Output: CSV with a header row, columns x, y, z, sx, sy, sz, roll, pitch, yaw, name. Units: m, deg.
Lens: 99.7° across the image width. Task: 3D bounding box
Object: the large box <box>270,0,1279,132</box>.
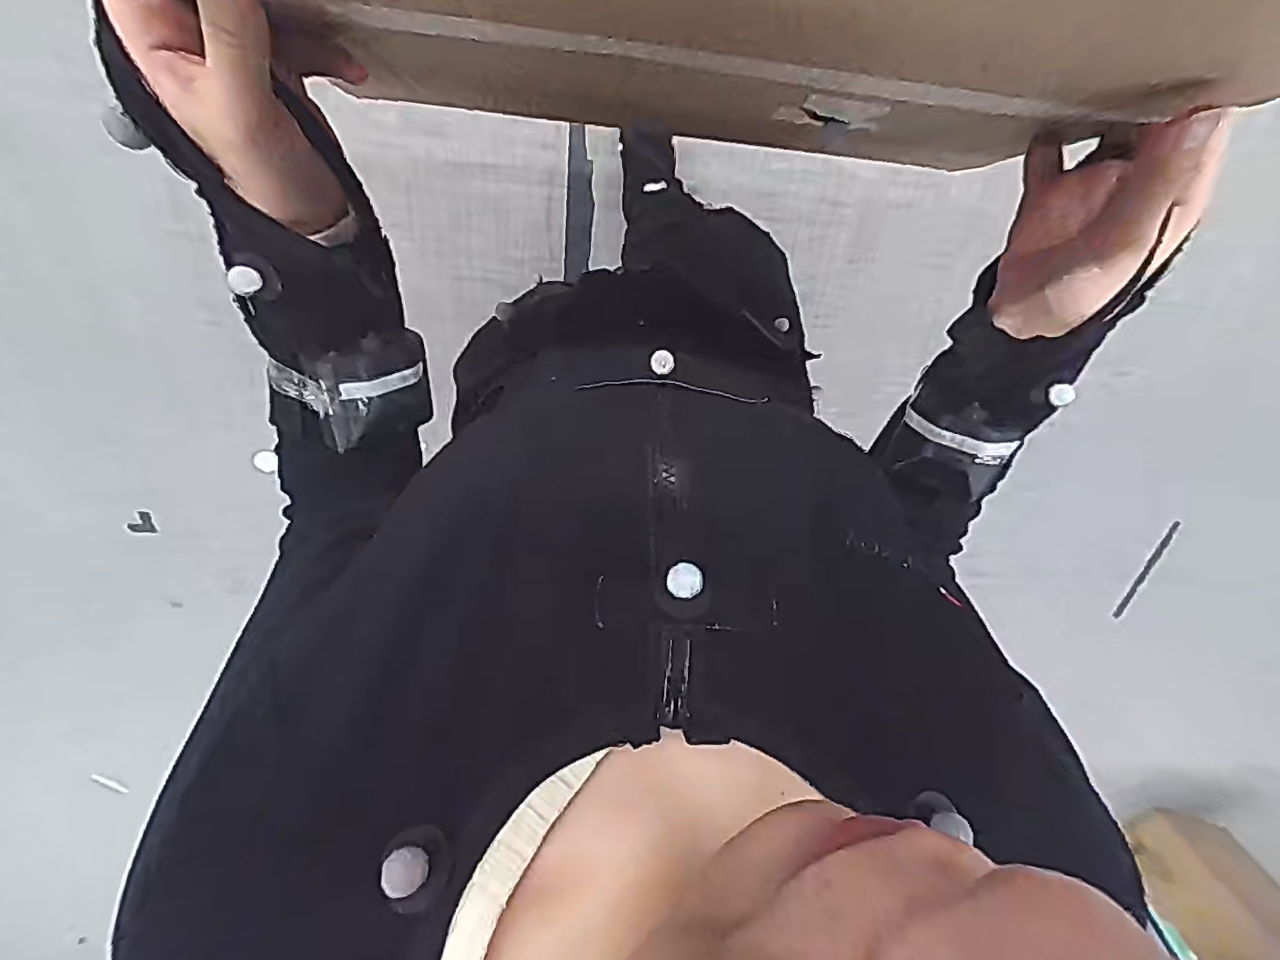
x,y,z,sx,sy,sz,roll,pitch,yaw,name
0.049,-0.323,0.145,0.408,0.320,0.320,2,113,-7,large box
